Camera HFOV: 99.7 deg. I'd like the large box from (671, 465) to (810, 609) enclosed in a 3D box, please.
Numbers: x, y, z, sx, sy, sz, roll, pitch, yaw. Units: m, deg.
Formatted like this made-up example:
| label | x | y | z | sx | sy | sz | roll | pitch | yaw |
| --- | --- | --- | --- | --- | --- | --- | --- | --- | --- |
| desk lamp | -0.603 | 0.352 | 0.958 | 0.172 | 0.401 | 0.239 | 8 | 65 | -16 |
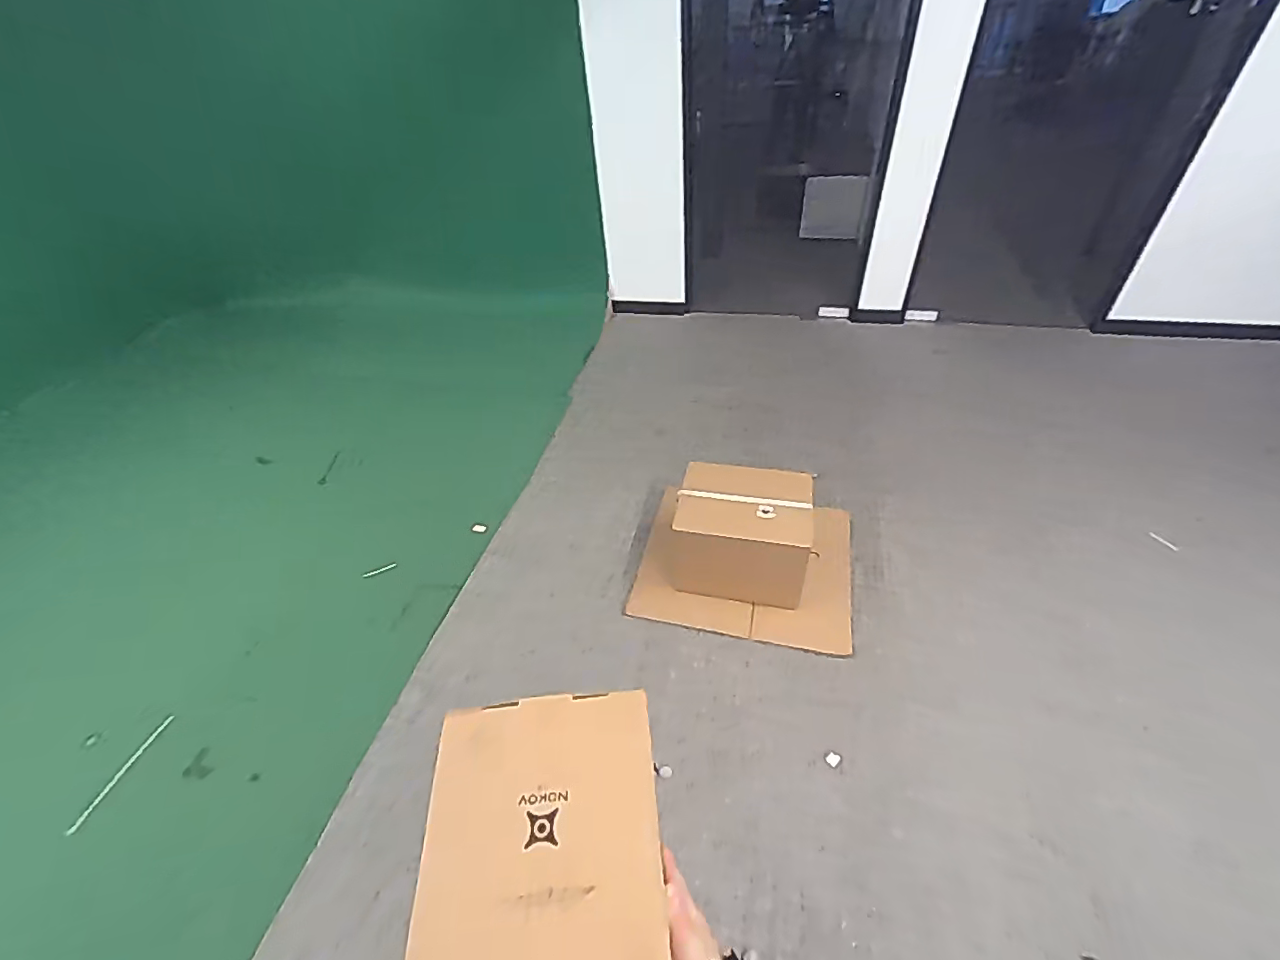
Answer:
| label | x | y | z | sx | sy | sz | roll | pitch | yaw |
| --- | --- | --- | --- | --- | --- | --- | --- | --- | --- |
| large box | 0.318 | 0.182 | 1.755 | 0.408 | 0.320 | 0.320 | 7 | 44 | 11 |
